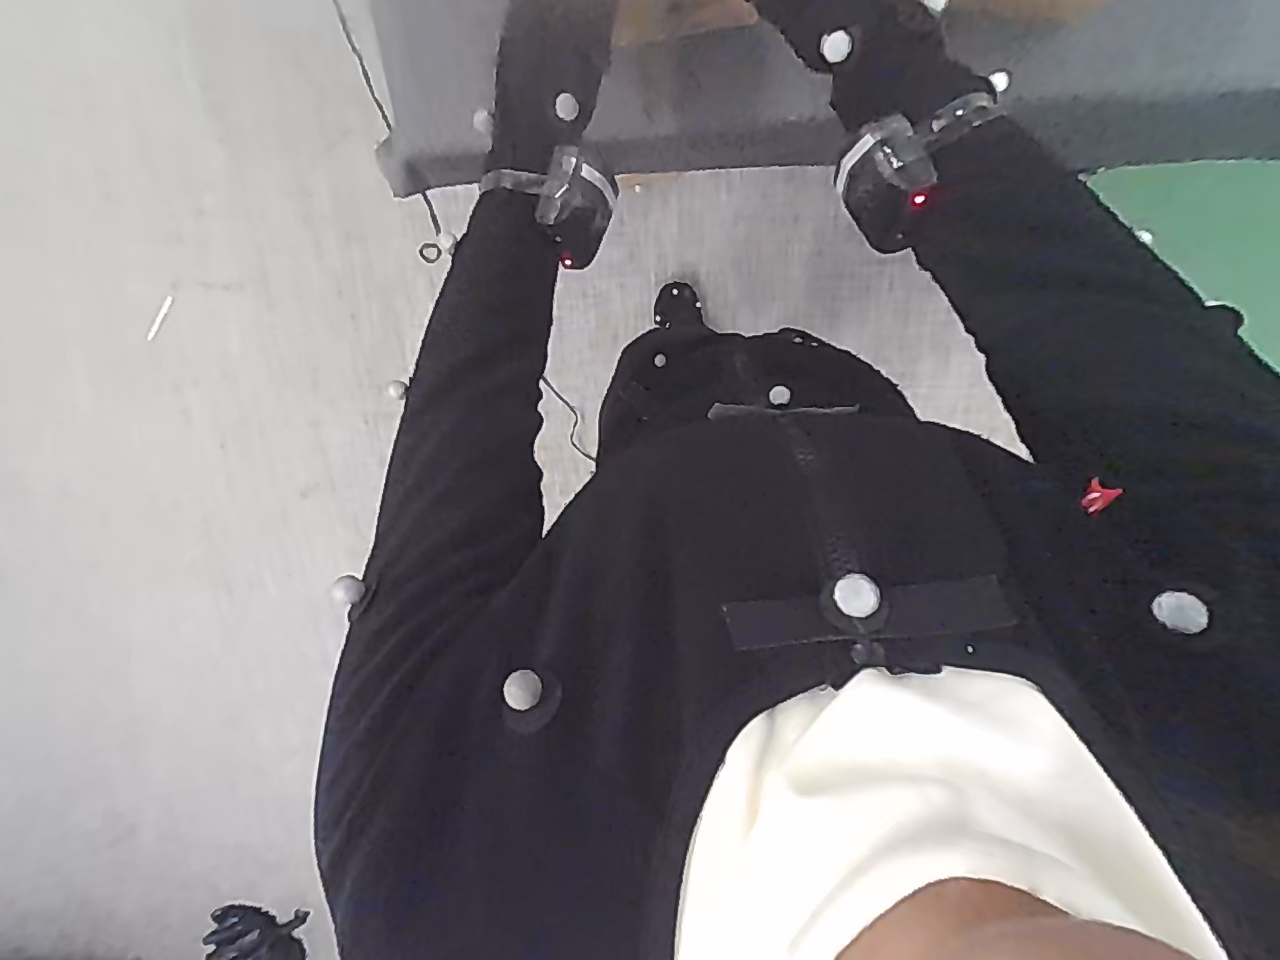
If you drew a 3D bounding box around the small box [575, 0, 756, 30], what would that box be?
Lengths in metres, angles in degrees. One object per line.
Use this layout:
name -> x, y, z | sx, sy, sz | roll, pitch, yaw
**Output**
small box -> 0.018, -0.485, 0.422 | 0.168, 0.176, 0.179 | -4, 115, 7
